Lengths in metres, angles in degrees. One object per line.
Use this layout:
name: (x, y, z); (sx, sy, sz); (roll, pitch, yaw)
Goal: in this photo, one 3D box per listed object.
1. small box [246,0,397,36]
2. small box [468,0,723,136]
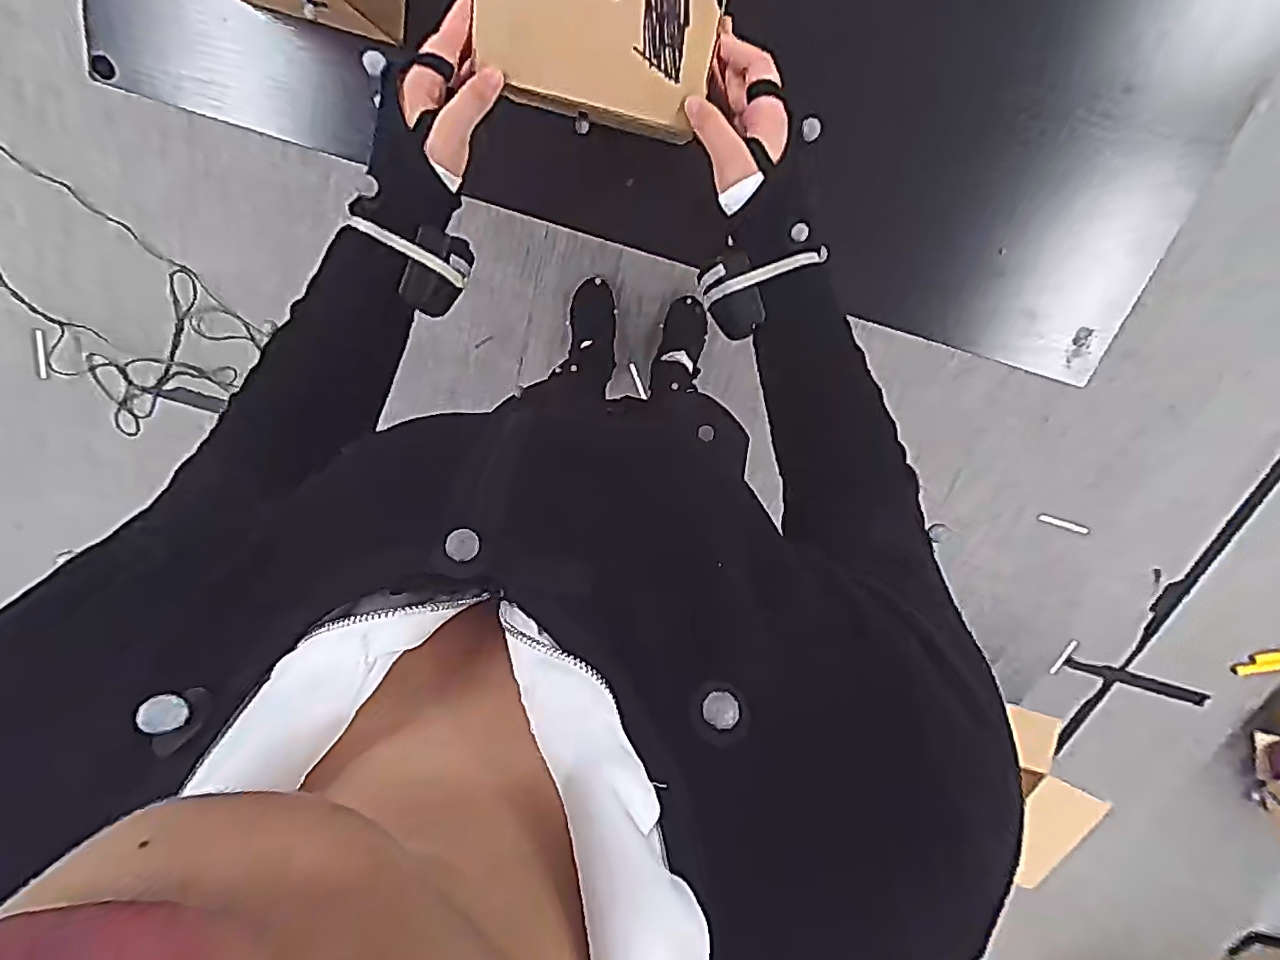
small box: (-0.319, -0.522, 0.463); (0.179, 0.176, 0.168); (13, 112, -3)
small box: (-0.025, -0.396, 0.441); (0.179, 0.176, 0.168); (12, 119, -5)
